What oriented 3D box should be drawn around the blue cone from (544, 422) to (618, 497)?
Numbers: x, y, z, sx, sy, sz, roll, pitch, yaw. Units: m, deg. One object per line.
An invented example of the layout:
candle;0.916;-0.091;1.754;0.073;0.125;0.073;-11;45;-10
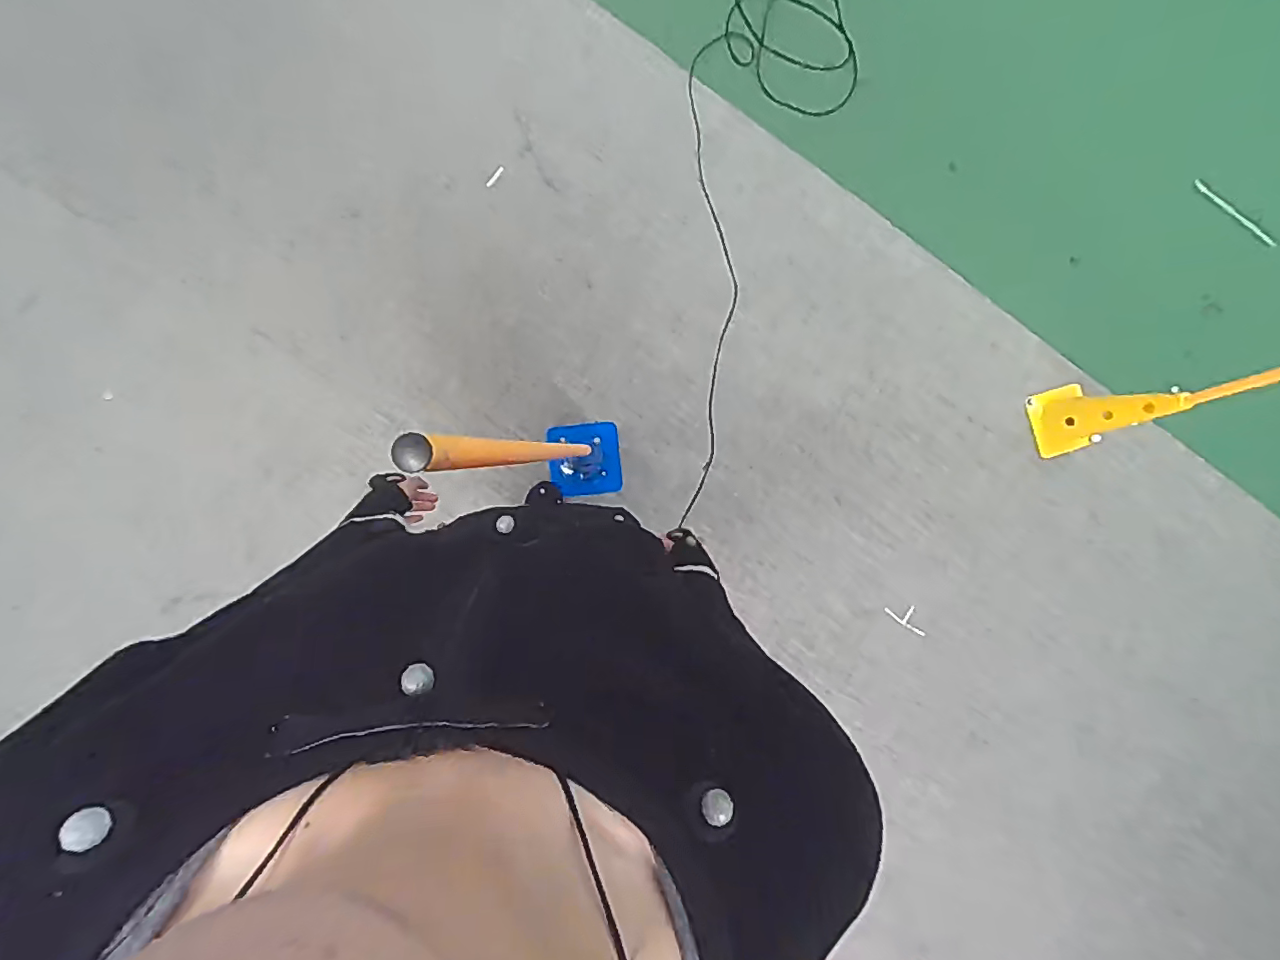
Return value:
blue cone;-0.142;-0.058;1.320;0.193;0.380;0.192;-7;90;-6
